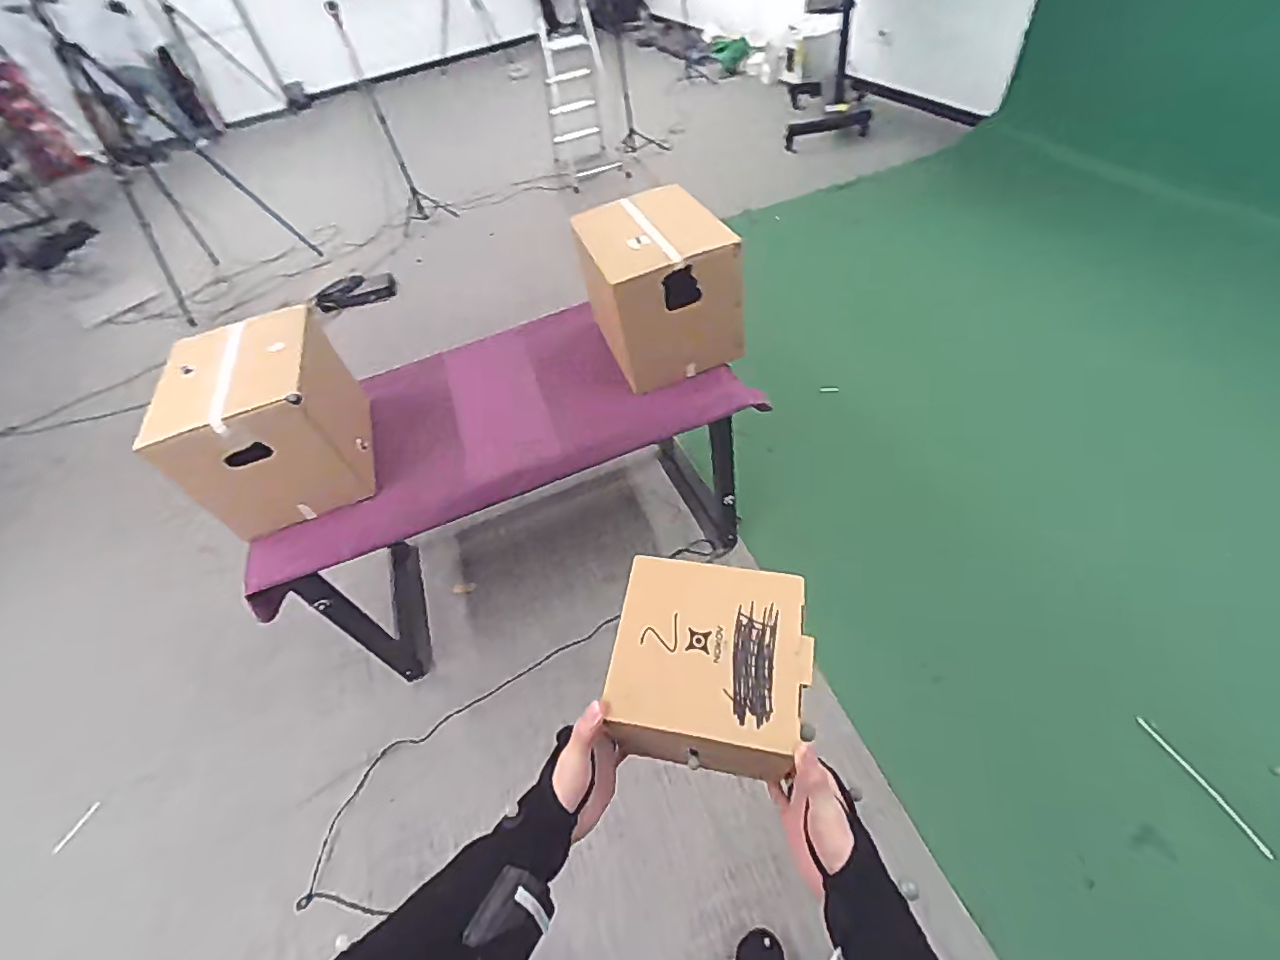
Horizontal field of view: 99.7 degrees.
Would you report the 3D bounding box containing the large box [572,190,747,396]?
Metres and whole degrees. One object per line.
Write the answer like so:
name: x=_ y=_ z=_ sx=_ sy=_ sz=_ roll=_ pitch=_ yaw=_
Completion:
large box: x=0.050 y=-0.488 z=1.403 sx=0.320 sy=0.320 sz=0.408 roll=-21 pitch=49 yaw=-5
